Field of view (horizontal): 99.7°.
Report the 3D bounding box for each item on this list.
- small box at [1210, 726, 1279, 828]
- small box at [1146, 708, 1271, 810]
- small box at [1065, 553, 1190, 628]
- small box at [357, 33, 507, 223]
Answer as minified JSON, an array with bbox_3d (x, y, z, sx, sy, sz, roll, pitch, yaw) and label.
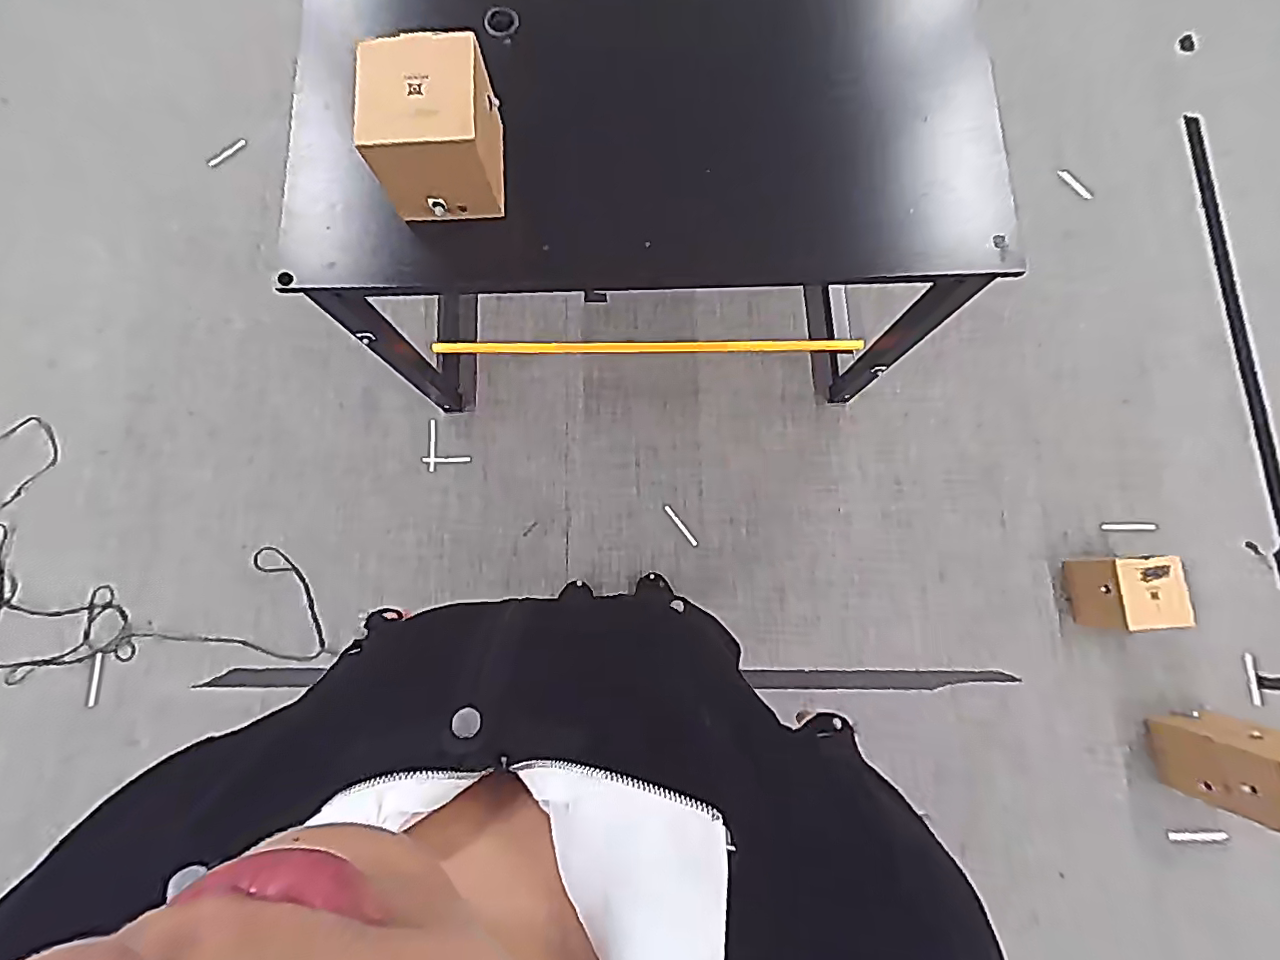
[{"bbox_3d":[1.431,0.662,1.195,0.179,0.176,0.168,-8,81,-1],"label":"small box"},{"bbox_3d":[1.440,0.691,1.356,0.168,0.176,0.179,-7,80,-1],"label":"small box"},{"bbox_3d":[1.270,0.288,1.423,0.168,0.176,0.179,-4,81,-1],"label":"small box"},{"bbox_3d":[-0.305,-0.525,0.823,0.168,0.176,0.179,-4,81,0],"label":"small box"}]
